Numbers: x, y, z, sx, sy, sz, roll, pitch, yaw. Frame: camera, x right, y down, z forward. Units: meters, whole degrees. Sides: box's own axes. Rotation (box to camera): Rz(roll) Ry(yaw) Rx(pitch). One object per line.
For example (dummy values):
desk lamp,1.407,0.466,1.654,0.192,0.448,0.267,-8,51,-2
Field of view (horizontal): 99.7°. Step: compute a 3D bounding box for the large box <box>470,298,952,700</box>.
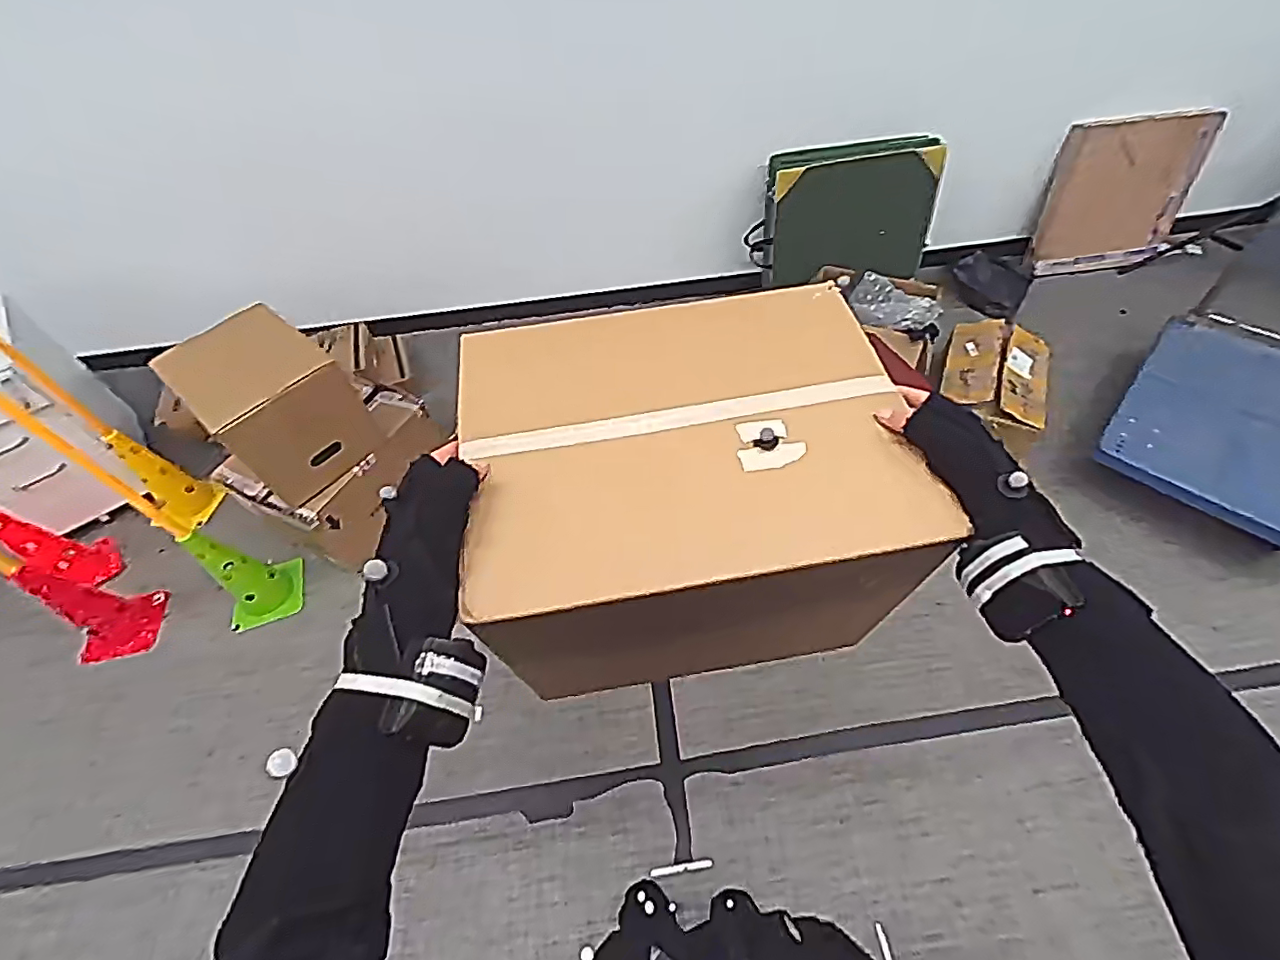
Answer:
large box,0.042,0.035,0.634,0.408,0.320,0.320,-9,58,-3
